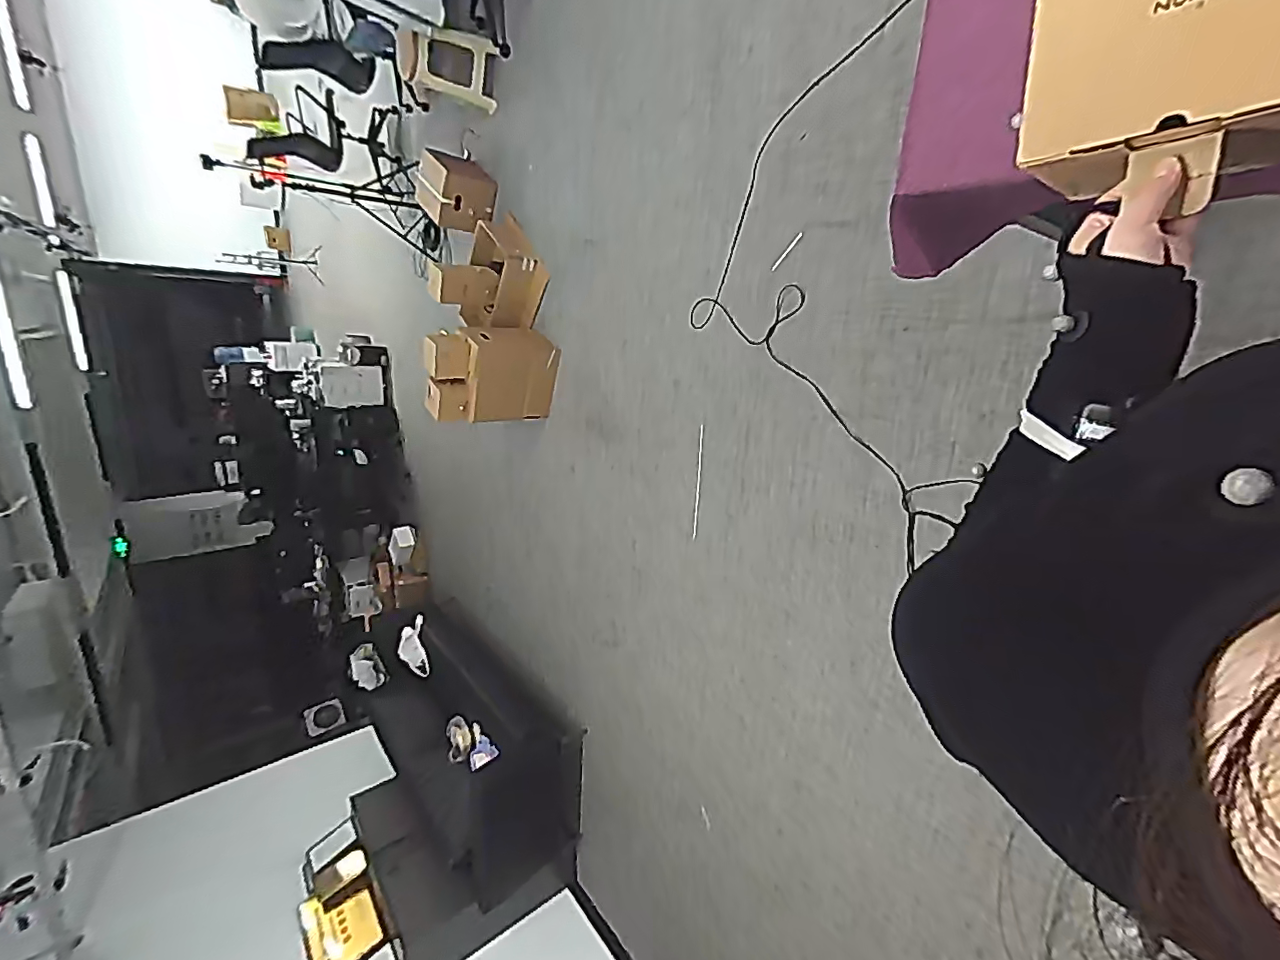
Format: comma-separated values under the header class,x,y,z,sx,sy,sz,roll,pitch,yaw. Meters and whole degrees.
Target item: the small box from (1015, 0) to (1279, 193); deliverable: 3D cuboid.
class,x,y,z,sx,sy,sz,roll,pitch,yaw
small box,0.398,-0.328,0.388,0.168,0.176,0.179,13,112,47
